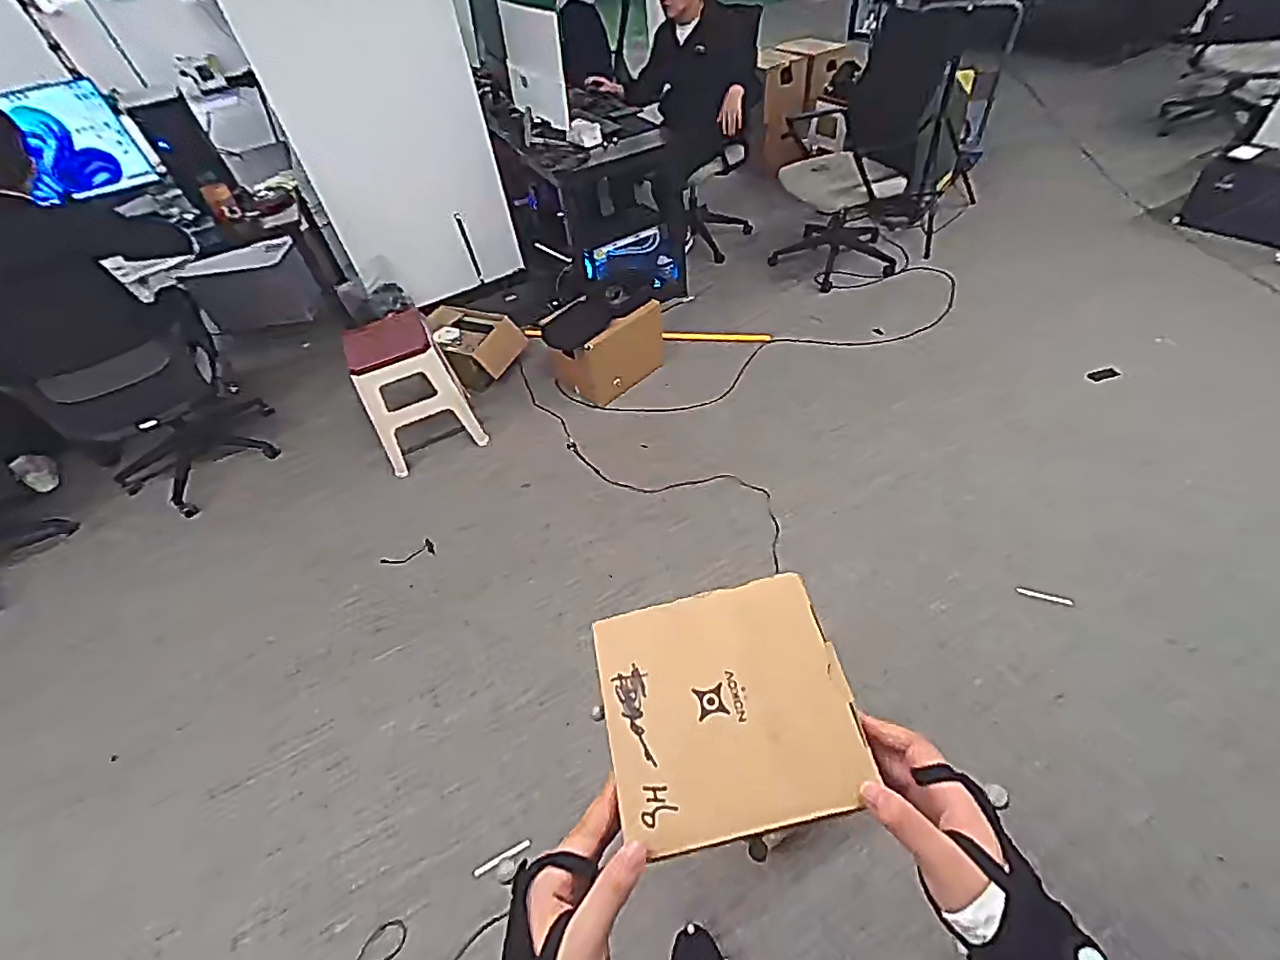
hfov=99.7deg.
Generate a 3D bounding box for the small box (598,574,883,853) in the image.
[{"bbox_3d":[0.072,0.205,0.464,0.179,0.176,0.168,-13,53,0],"label":"small box"}]

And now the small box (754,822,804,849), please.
[{"bbox_3d":[0.309,0.706,1.241,0.179,0.176,0.168,-28,51,-16],"label":"small box"}]
